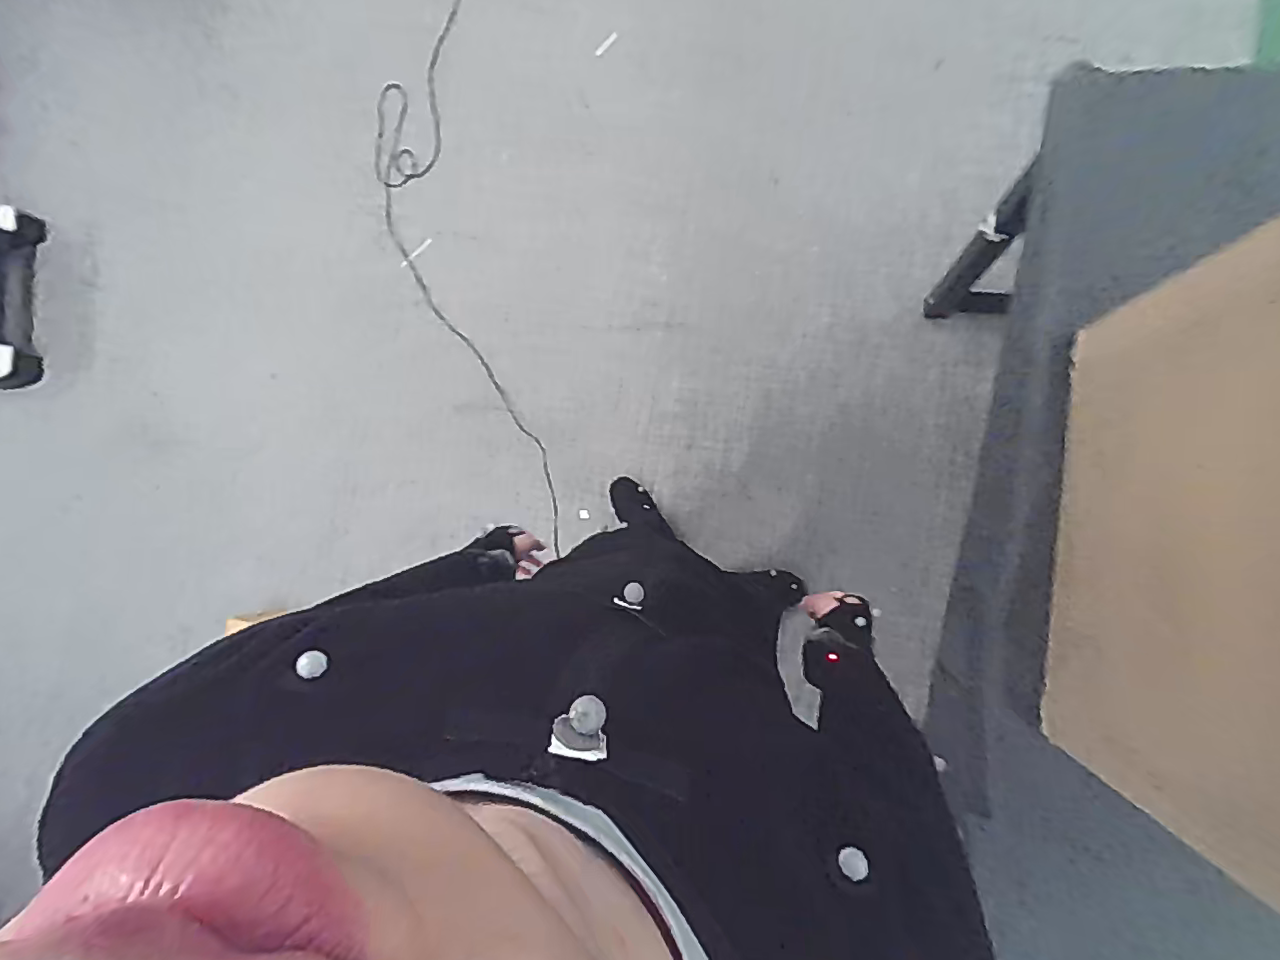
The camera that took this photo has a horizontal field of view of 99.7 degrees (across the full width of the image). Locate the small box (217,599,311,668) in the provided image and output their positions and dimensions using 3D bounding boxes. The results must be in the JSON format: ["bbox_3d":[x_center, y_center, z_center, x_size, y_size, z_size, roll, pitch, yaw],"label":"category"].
[{"bbox_3d":[-1.209,0.487,1.744,0.179,0.176,0.168,5,90,11],"label":"small box"}]
